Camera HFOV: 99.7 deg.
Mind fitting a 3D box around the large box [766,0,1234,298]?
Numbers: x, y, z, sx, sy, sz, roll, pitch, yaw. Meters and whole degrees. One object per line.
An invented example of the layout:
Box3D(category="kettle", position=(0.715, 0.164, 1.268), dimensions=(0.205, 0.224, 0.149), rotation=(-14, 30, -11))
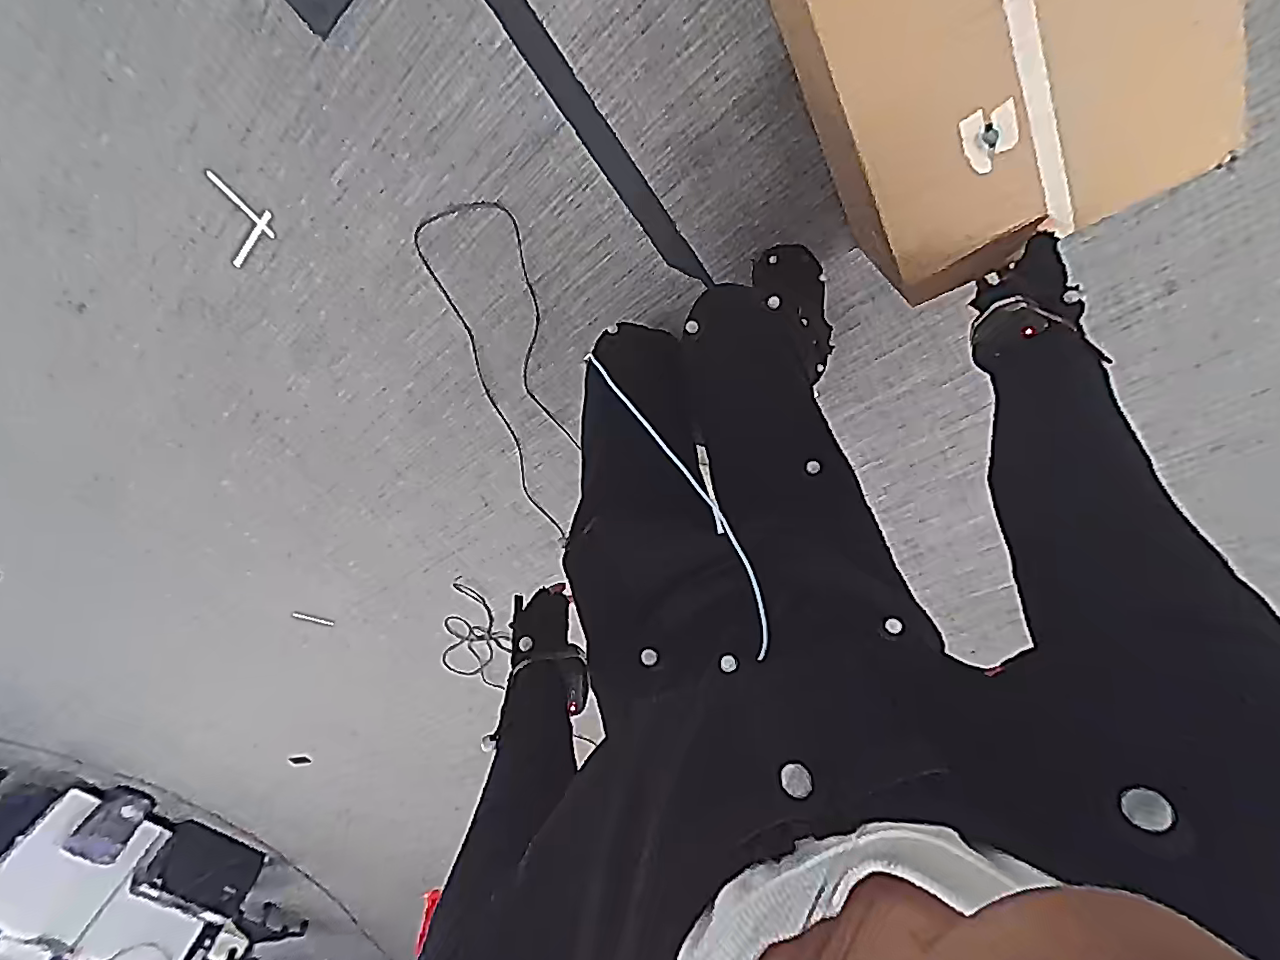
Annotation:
Box3D(category="large box", position=(0.370, -0.501, 0.625), dimensions=(0.320, 0.320, 0.408), rotation=(-23, 119, 24))

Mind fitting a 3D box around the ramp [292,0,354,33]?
Box3D(category="ramp", position=(-0.588, -1.075, 0.459), dimensions=(0.509, 0.206, 0.991), rotation=(-29, 116, 26))
